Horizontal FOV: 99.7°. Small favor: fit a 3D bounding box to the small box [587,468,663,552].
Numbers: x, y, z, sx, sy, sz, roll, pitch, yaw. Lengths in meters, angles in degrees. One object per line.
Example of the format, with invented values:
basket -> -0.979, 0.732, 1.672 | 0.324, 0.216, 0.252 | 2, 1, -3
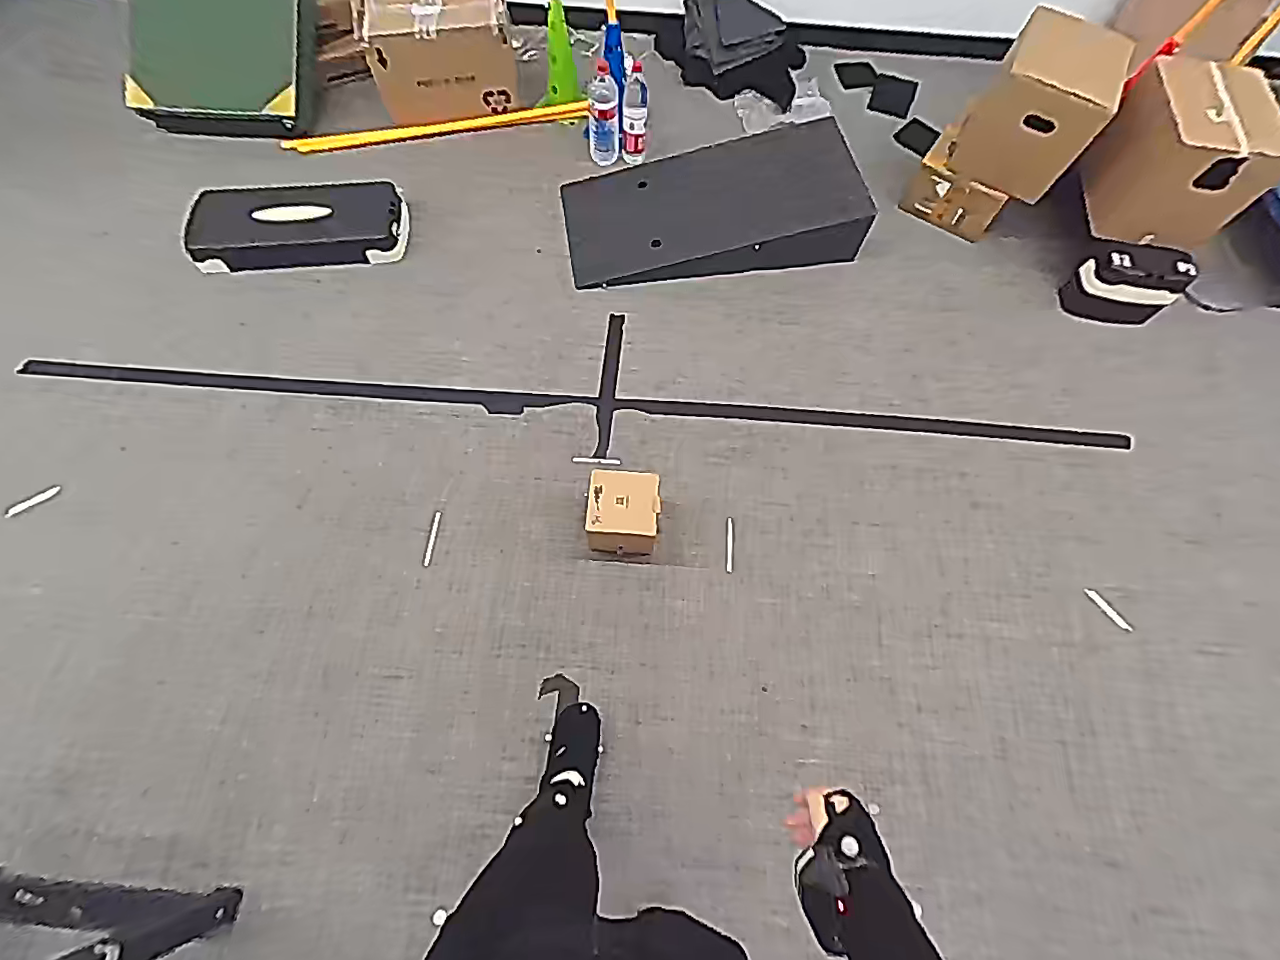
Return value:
small box -> -0.039, 0.083, 1.396 | 0.179, 0.176, 0.168 | 5, 67, -1
